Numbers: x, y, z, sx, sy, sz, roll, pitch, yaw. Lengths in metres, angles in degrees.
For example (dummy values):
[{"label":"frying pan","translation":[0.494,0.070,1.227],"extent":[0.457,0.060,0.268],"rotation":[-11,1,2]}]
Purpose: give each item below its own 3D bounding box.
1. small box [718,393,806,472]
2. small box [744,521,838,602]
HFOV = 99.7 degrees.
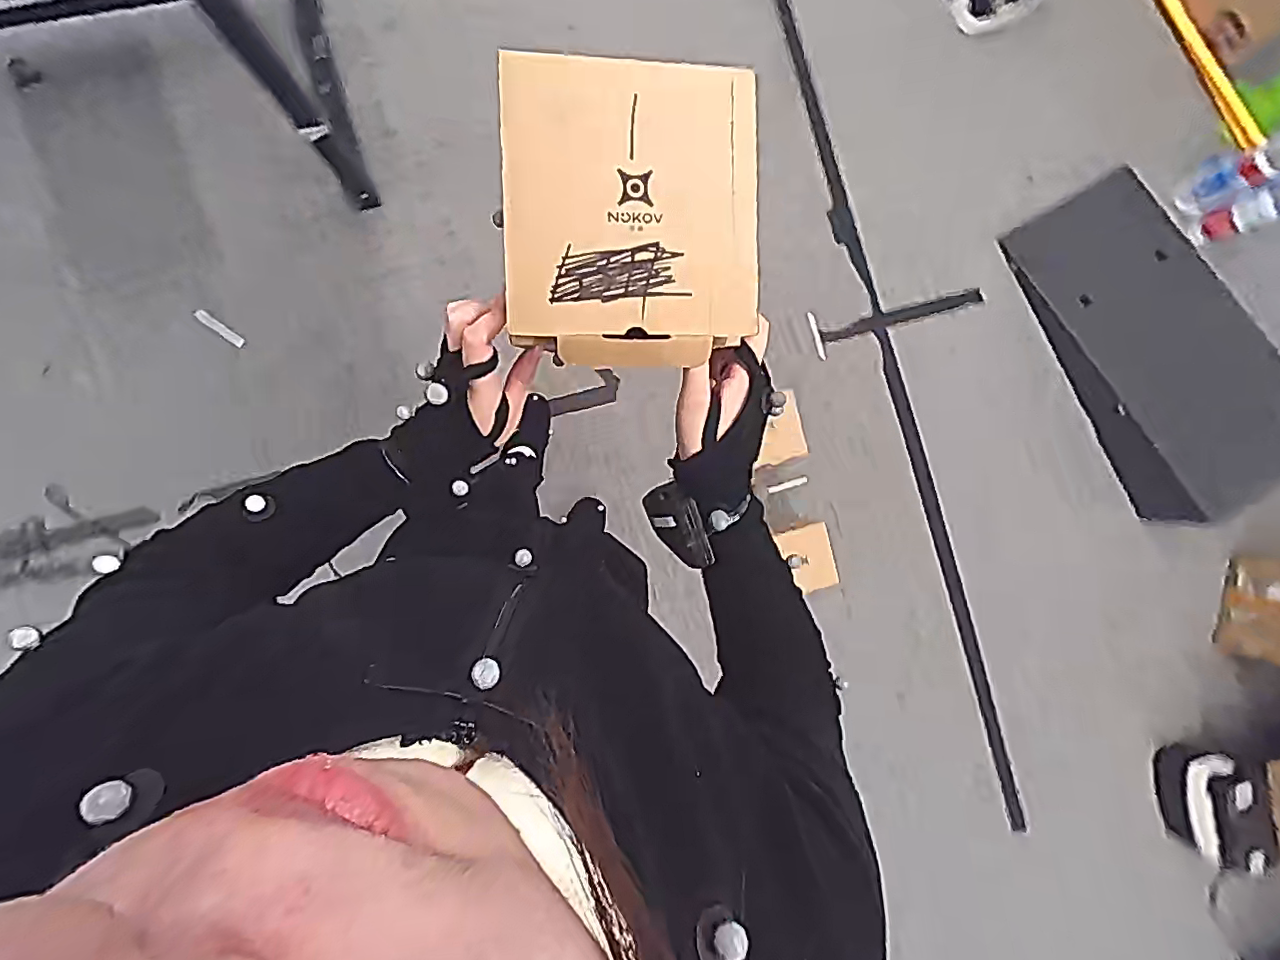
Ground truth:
[{"label":"small box","translation":[0.322,-0.125,1.452],"extent":[0.168,0.176,0.179],"rotation":[-14,93,-6]},{"label":"small box","translation":[0.404,0.213,1.465],"extent":[0.179,0.176,0.168],"rotation":[-14,92,-6]}]
